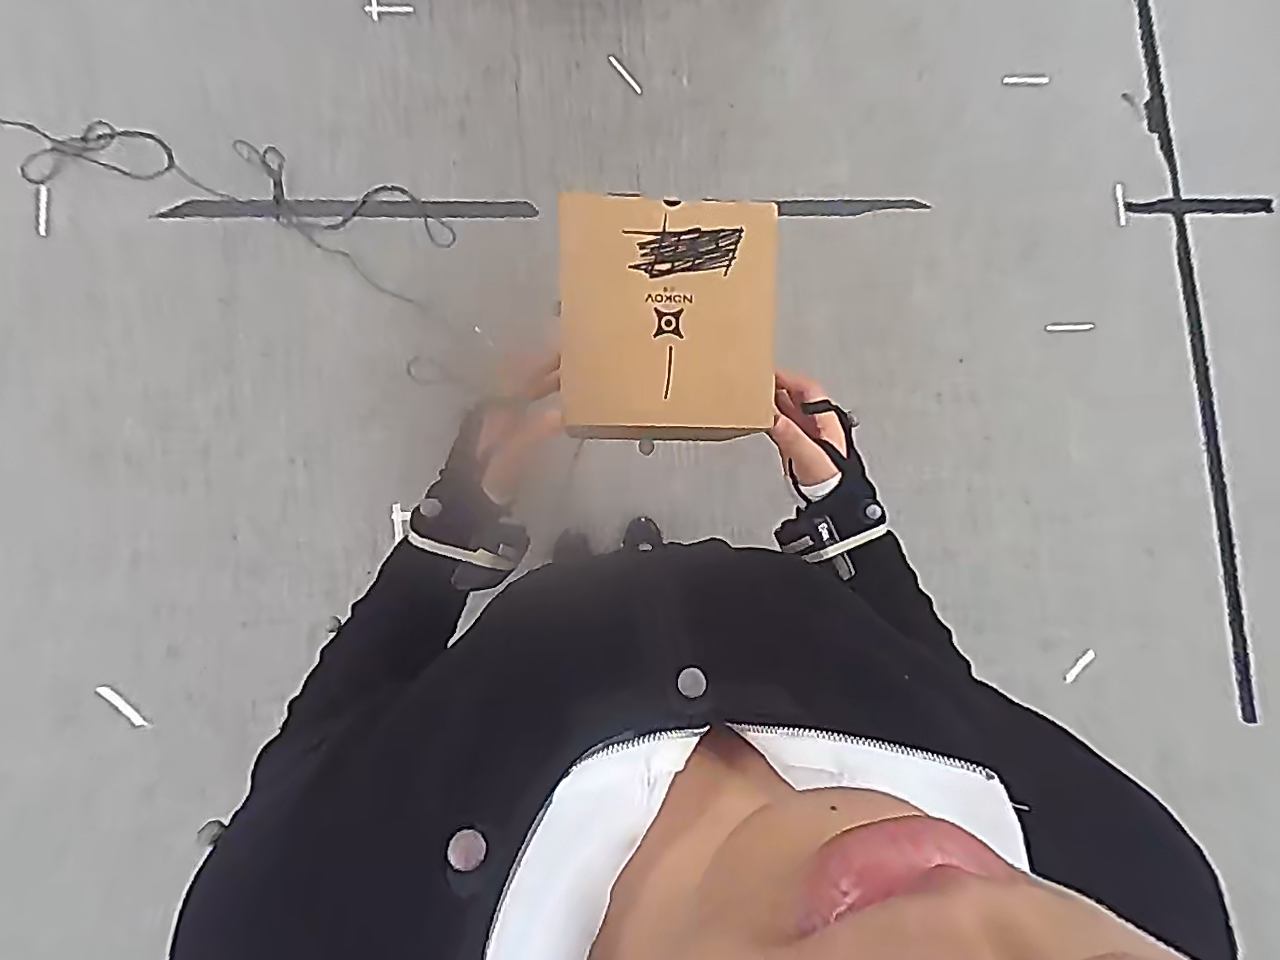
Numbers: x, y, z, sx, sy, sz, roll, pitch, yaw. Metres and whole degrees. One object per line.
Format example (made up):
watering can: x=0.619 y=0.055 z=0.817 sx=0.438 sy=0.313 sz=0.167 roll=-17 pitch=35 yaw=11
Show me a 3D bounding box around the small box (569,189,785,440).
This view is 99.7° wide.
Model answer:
small box: x=0.023 y=-0.131 z=0.490 sx=0.168 sy=0.176 sz=0.179 roll=1 pitch=91 yaw=-4
